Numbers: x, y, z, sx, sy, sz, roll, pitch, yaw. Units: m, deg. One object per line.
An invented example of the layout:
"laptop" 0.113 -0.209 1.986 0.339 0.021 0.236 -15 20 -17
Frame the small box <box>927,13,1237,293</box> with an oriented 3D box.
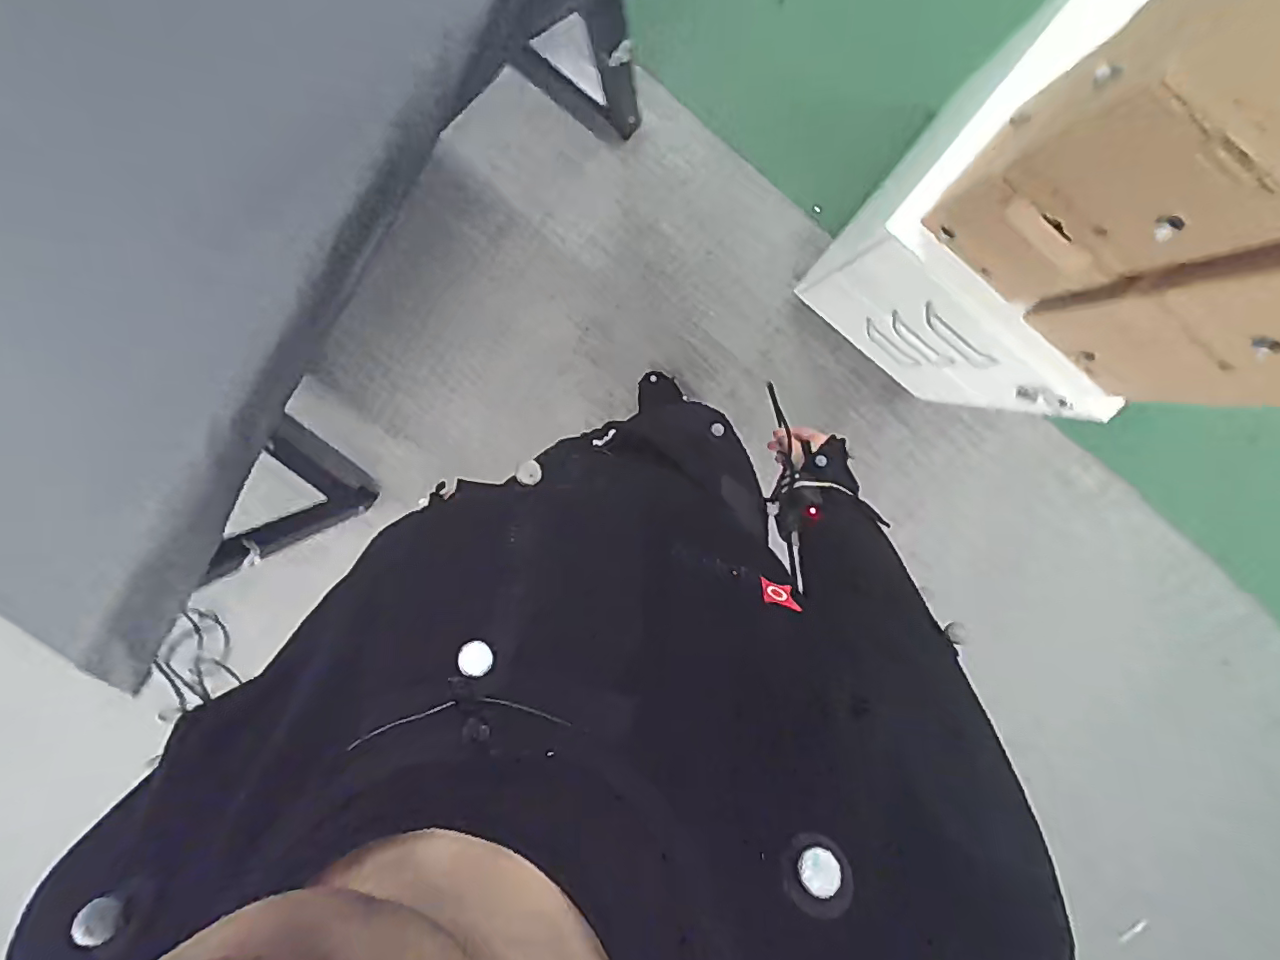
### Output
"small box" 0.457 -0.333 0.600 0.168 0.176 0.179 38 99 -6
